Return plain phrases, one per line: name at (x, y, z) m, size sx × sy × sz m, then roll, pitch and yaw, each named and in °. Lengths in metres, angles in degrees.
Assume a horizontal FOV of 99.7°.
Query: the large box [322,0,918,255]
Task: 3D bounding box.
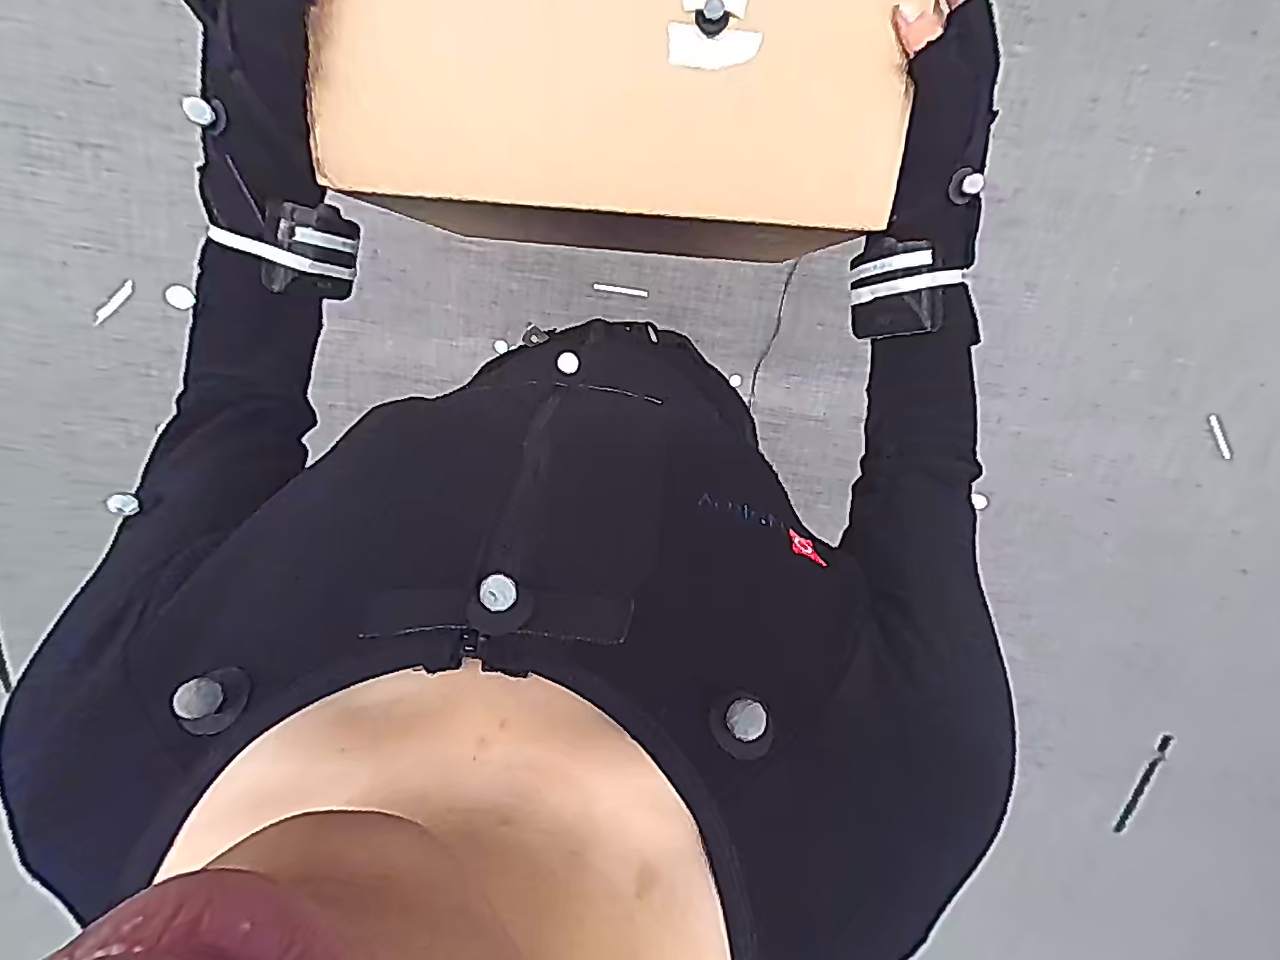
large box at (-0.011, -0.394, 0.491) m, size 0.408 × 0.320 × 0.320 m, roll 4°, pitch 108°, yaw -1°
